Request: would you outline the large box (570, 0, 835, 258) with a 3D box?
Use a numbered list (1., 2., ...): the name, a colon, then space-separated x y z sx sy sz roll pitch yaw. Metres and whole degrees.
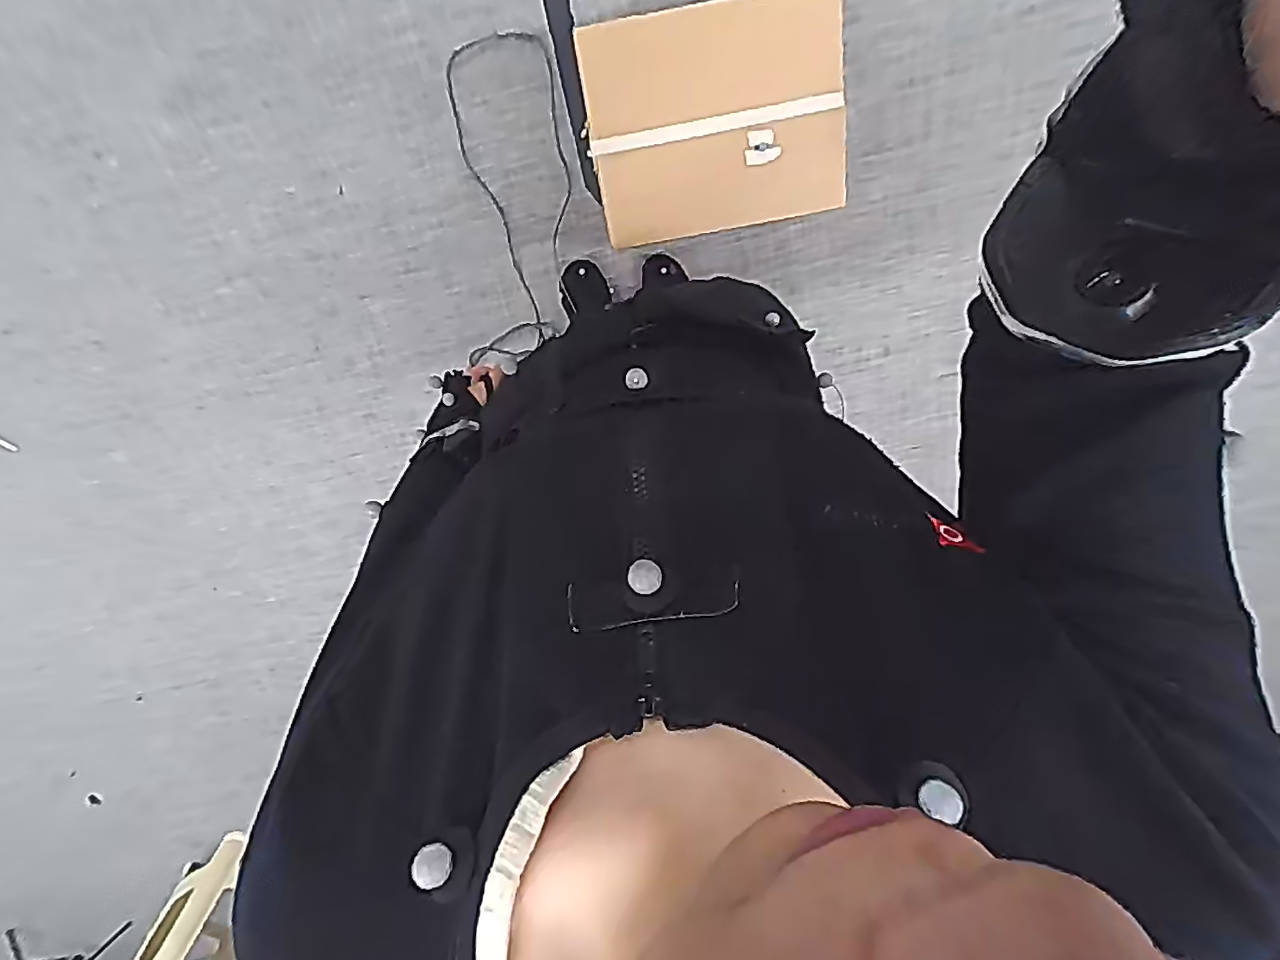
1. large box: 0.105 -0.618 1.011 0.408 0.320 0.320 -11 114 1
